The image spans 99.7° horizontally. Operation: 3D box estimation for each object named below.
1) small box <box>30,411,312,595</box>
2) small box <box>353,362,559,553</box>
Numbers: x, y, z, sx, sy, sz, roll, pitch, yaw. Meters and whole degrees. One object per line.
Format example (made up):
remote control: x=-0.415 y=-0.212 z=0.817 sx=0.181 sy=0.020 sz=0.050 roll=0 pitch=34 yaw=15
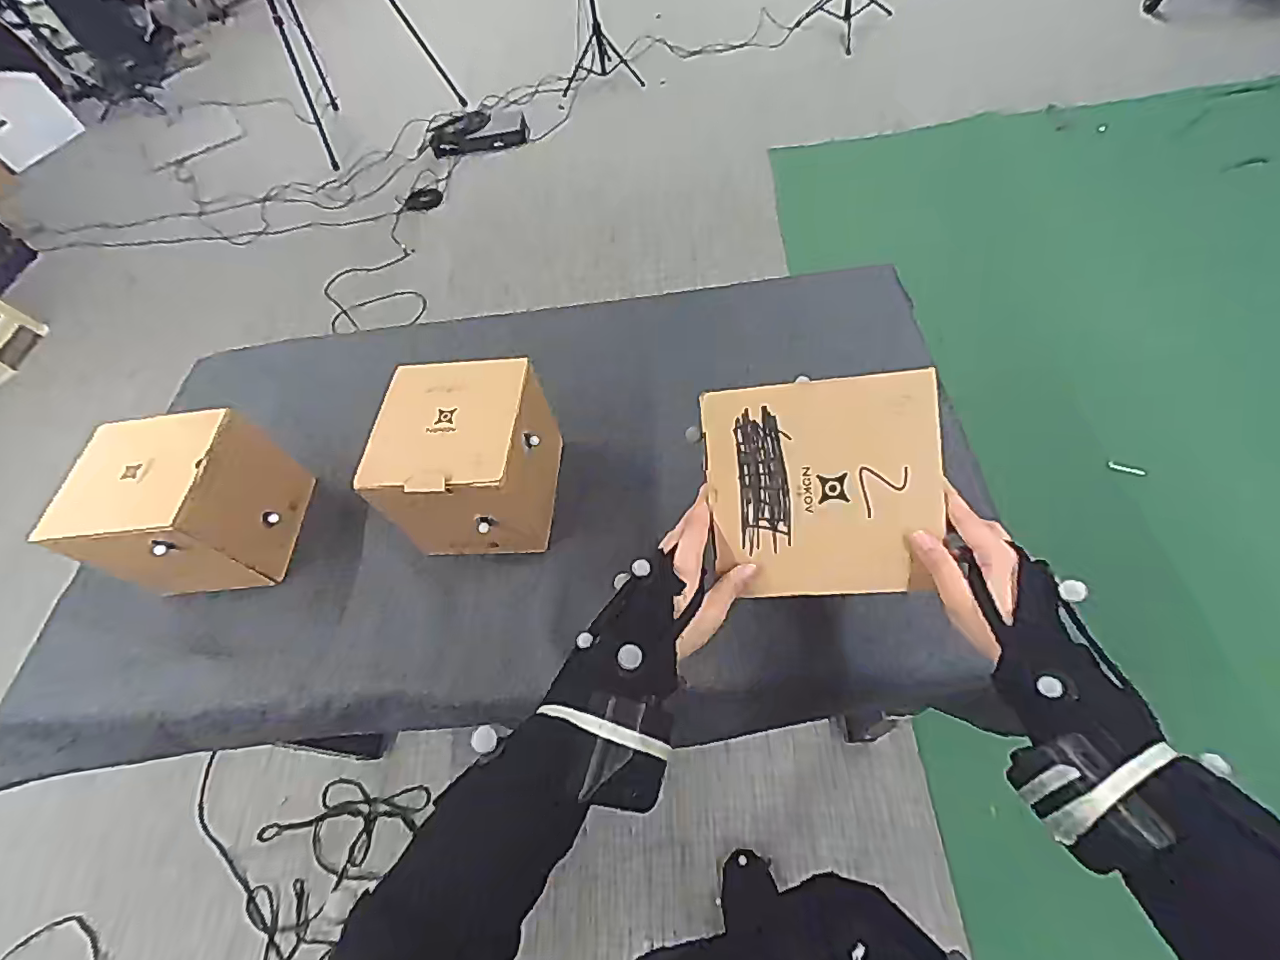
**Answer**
small box: x=-0.567 y=0.037 z=0.686 sx=0.179 sy=0.176 sz=0.168 roll=-6 pitch=57 yaw=4
small box: x=-0.205 y=-0.019 z=0.662 sx=0.168 sy=0.176 sz=0.179 roll=-2 pitch=56 yaw=7
